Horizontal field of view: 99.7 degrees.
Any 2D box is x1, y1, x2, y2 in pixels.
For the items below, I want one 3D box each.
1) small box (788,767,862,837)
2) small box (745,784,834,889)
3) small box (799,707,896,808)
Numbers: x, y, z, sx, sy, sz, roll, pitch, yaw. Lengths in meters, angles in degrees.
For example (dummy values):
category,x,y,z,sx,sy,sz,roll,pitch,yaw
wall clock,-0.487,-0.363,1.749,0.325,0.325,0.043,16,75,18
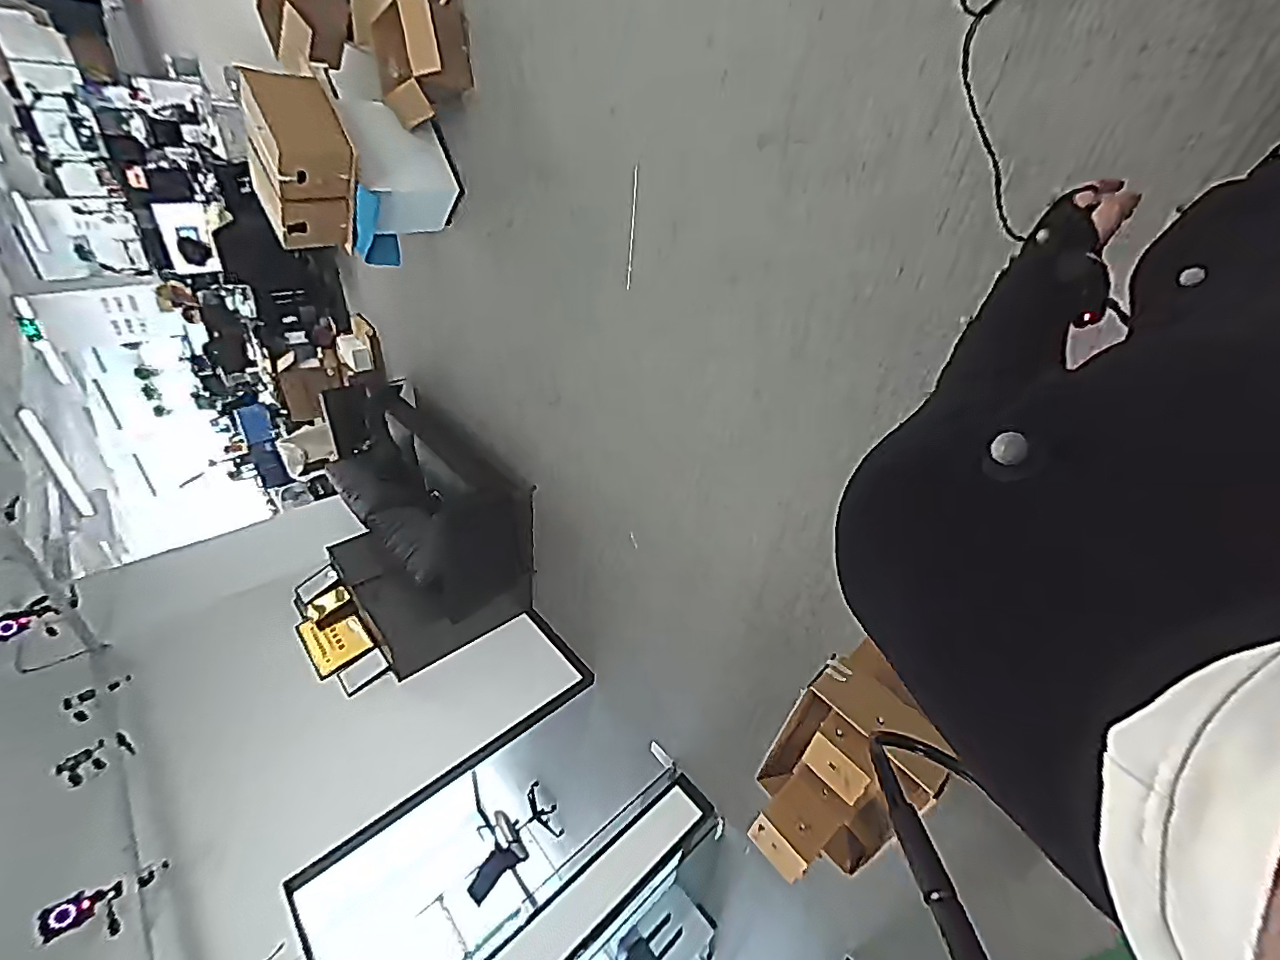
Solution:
category,x,y,z,sx,sy,sz,roll,pitch,yaw
small box,0.574,1.015,1.729,0.179,0.176,0.168,40,136,31
small box,0.452,1.069,1.632,0.179,0.176,0.168,38,134,30
small box,0.600,0.794,1.569,0.179,0.176,0.168,36,135,33
